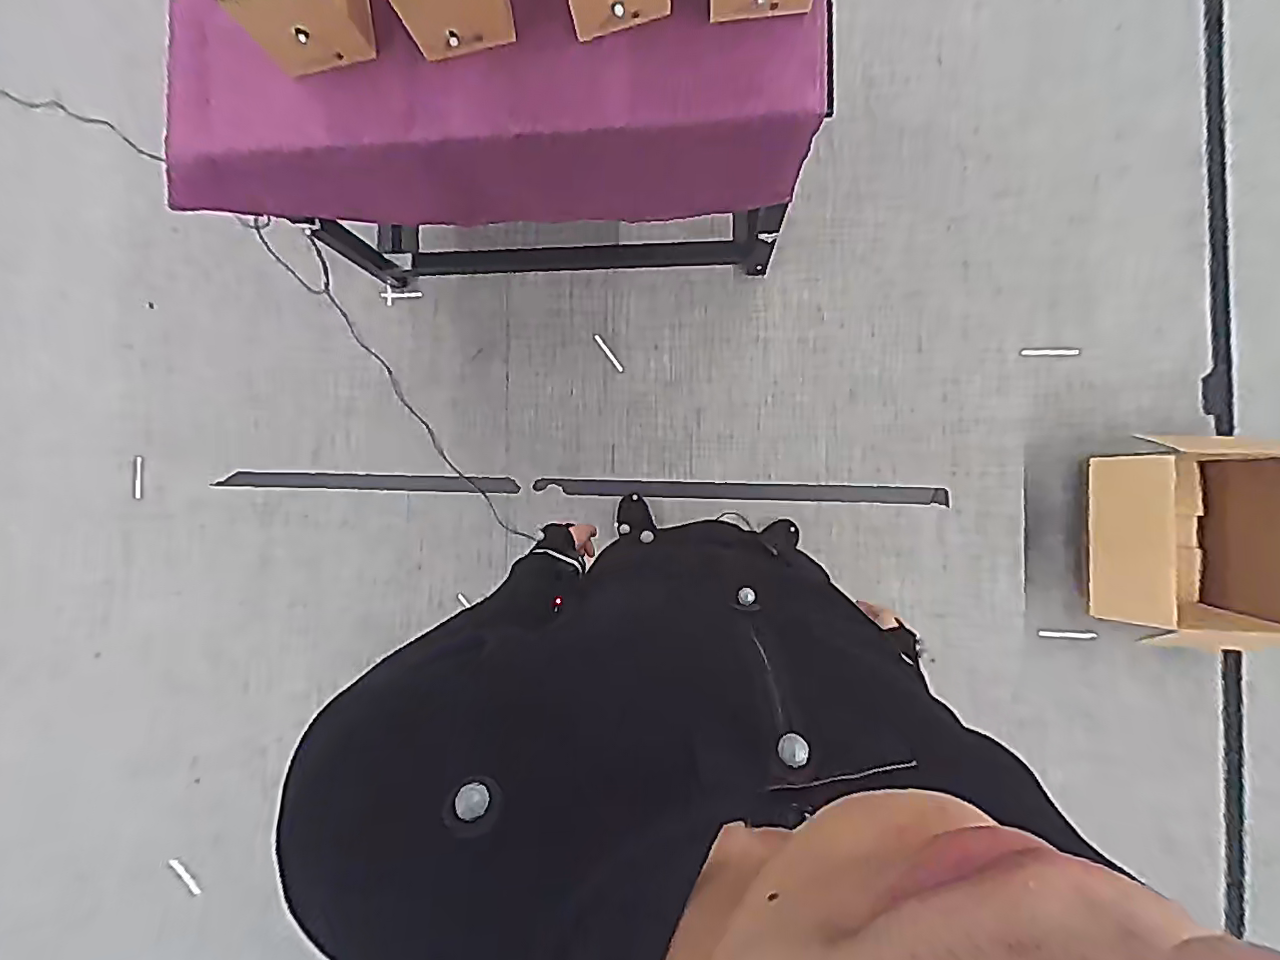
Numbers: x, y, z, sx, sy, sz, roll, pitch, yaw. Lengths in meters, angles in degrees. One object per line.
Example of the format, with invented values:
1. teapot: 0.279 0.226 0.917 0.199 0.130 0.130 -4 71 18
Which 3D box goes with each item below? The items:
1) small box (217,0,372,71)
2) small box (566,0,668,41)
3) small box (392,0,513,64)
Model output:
1. small box: -0.571 -0.824 0.897 0.168 0.176 0.179 -9 88 5
2. small box: -0.054 -0.855 0.850 0.168 0.176 0.179 -13 89 5
3. small box: -0.319 -0.834 0.876 0.168 0.176 0.179 -10 88 6
